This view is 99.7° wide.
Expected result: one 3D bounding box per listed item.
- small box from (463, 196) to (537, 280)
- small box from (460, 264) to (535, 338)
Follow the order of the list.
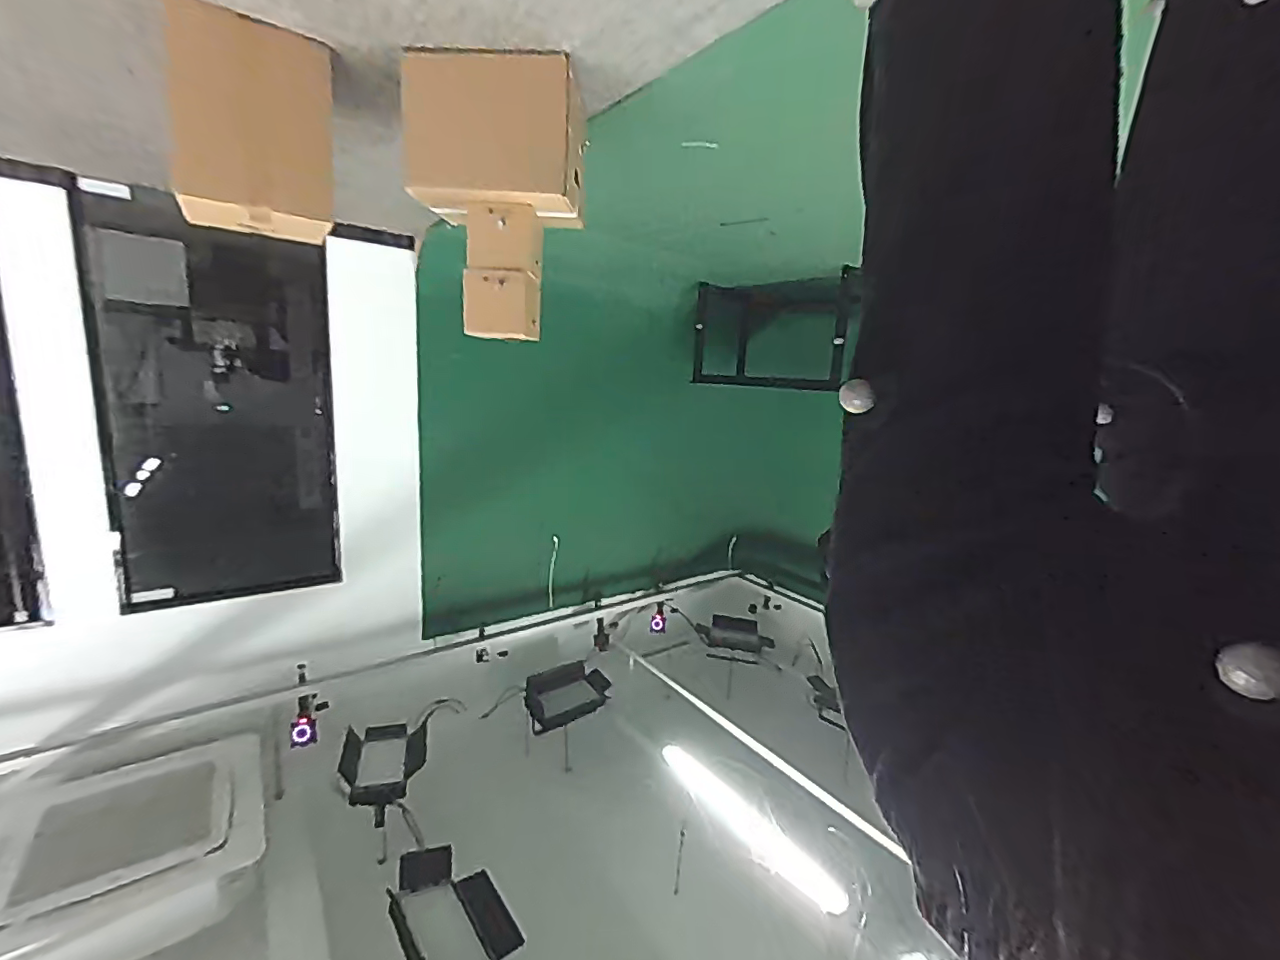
[{"bbox_3d":[-0.375,-0.651,1.472,0.168,0.176,0.179,2,-170,-1],"label":"small box"},{"bbox_3d":[-0.388,-0.490,1.496,0.168,0.176,0.179,2,-170,2],"label":"small box"}]
